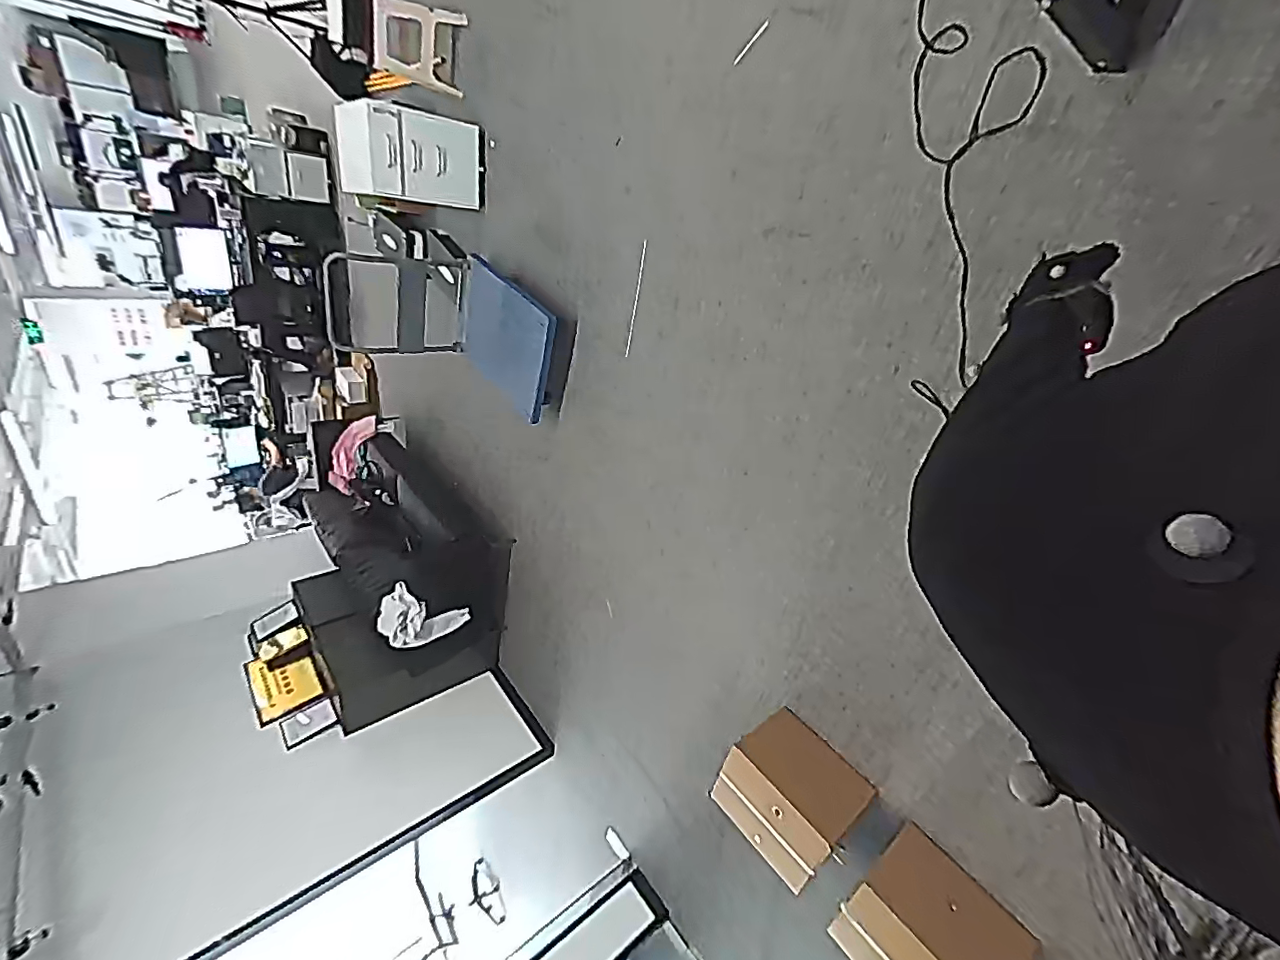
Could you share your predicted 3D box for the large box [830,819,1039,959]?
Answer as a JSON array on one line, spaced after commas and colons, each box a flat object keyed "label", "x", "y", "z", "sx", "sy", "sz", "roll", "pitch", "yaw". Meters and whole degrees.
[{"label": "large box", "x": 0.857, "y": 1.339, "z": 1.603, "sx": 0.408, "sy": 0.320, "sz": 0.320, "roll": 36, "pitch": 127, "yaw": 36}]
